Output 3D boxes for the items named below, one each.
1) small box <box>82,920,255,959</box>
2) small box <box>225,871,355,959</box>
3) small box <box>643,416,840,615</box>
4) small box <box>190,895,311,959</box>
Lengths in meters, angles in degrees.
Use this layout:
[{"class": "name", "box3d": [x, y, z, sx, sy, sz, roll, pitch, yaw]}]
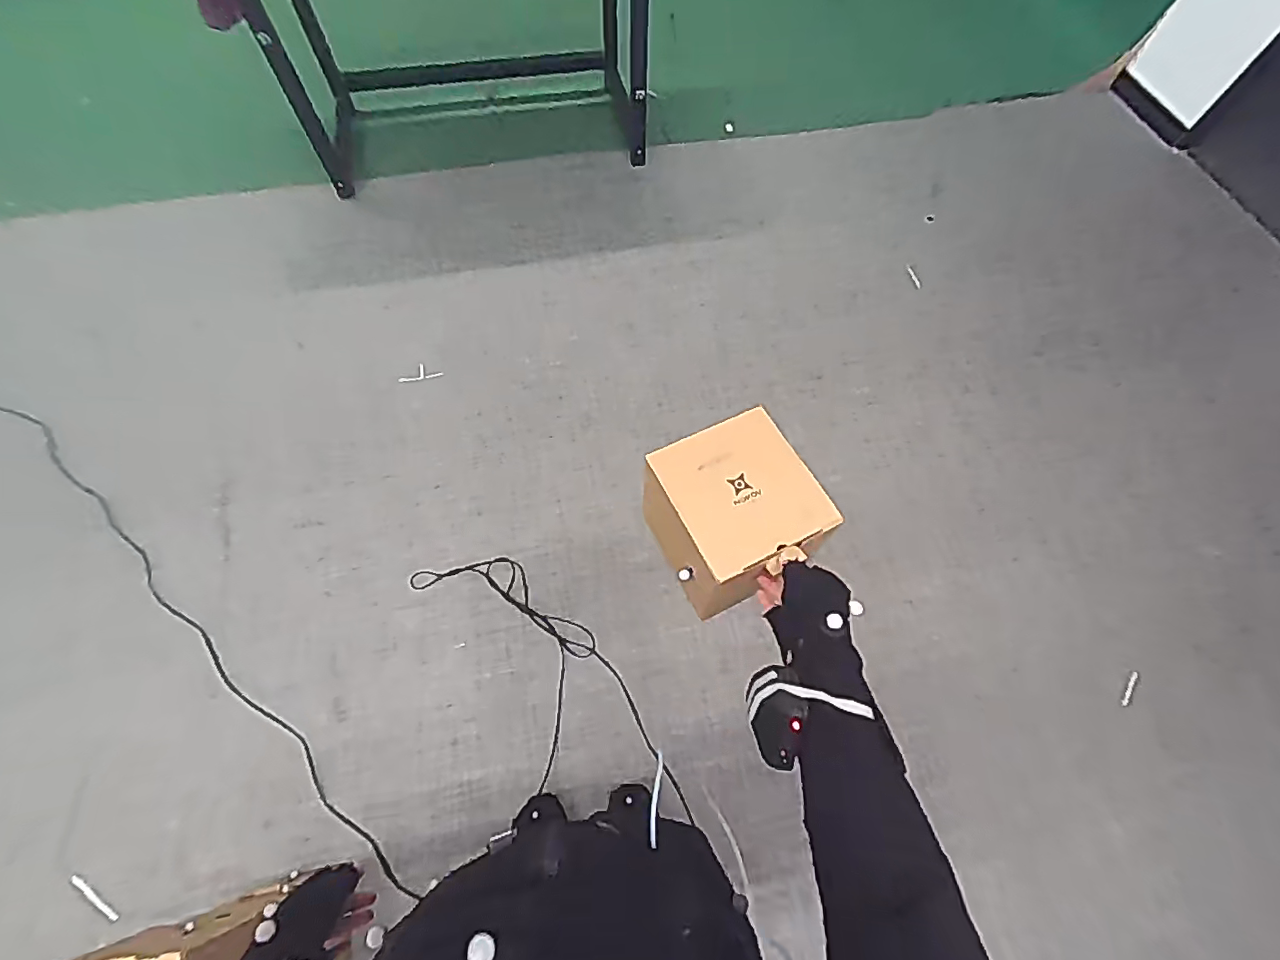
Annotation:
[{"class": "small box", "box3d": [-0.678, 0.748, 0.748, 0.168, 0.176, 0.179, -4, 64, -3]}, {"class": "small box", "box3d": [-0.675, 0.886, 1.048, 0.168, 0.176, 0.179, -13, 64, -4]}, {"class": "small box", "box3d": [0.114, 0.056, 0.687, 0.168, 0.176, 0.179, -23, 65, -13]}, {"class": "small box", "box3d": [-0.674, 0.819, 0.895, 0.168, 0.176, 0.179, -8, 66, -6]}]
